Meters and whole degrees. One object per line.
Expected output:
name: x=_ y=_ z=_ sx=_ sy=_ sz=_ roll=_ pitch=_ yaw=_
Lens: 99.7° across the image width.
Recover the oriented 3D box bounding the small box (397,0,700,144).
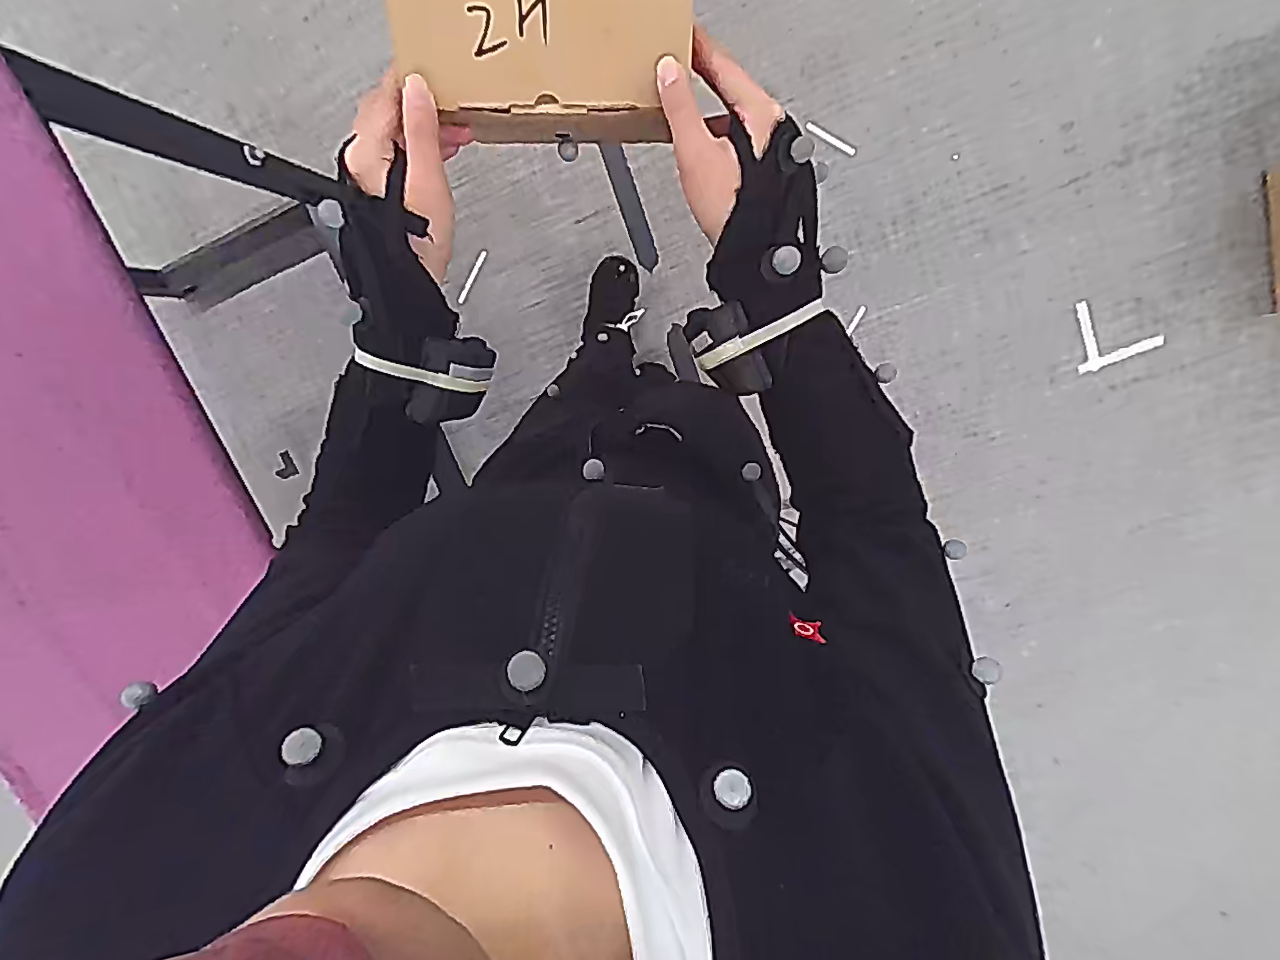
small box: x=-0.050 y=-0.330 z=0.345 sx=0.168 sy=0.176 sz=0.179 roll=0 pitch=115 yaw=-1
